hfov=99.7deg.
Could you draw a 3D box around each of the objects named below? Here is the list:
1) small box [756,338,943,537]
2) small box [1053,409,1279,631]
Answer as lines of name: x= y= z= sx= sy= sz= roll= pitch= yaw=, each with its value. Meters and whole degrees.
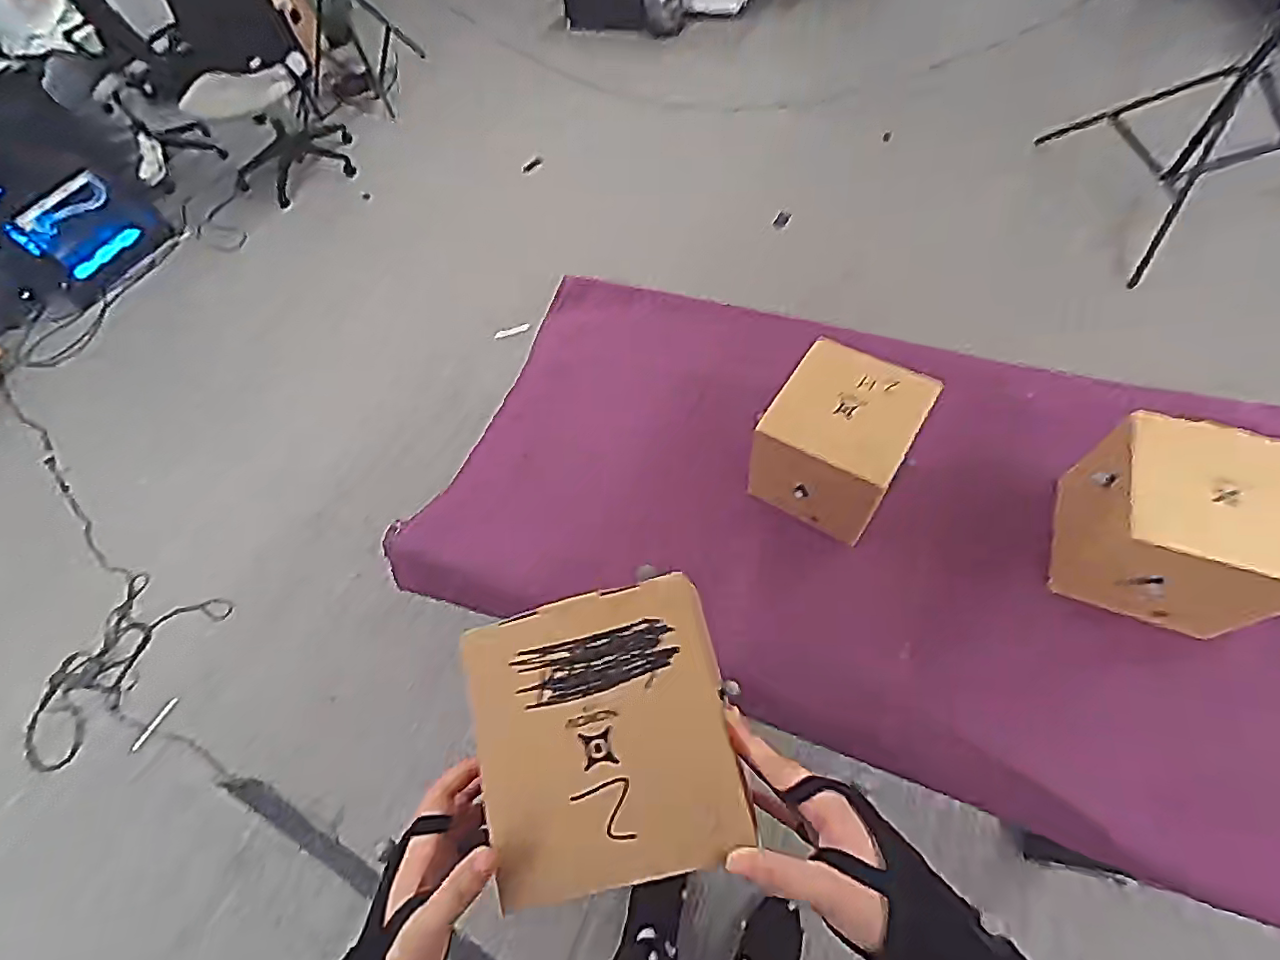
small box: x=0.270 y=-0.052 z=0.734 sx=0.168 sy=0.176 sz=0.179 roll=30 pitch=67 yaw=21
small box: x=0.617 y=0.052 z=0.628 sx=0.168 sy=0.176 sz=0.179 roll=18 pitch=63 yaw=18
